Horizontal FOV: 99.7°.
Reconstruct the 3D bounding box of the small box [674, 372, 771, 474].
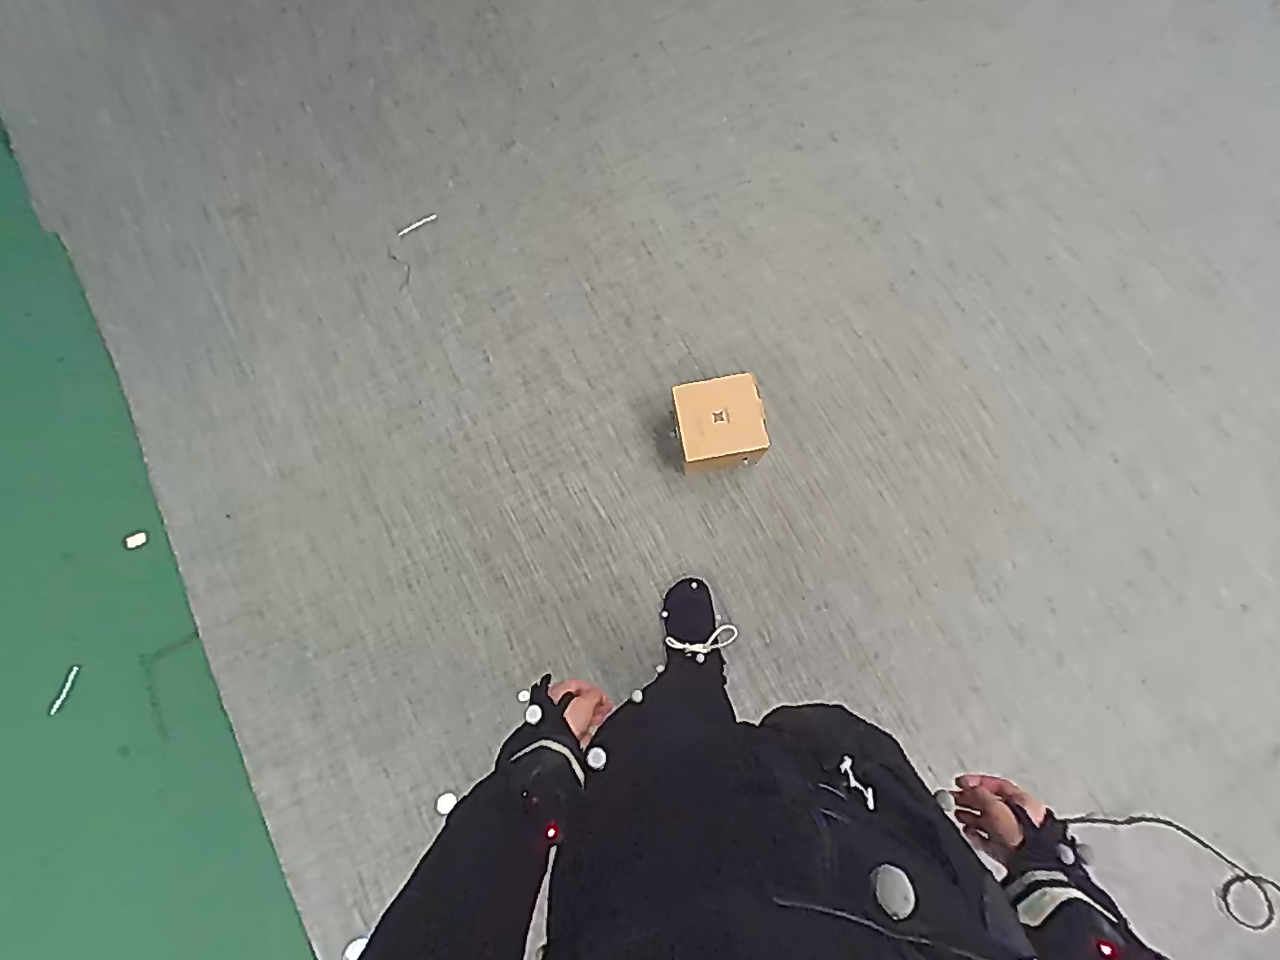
[{"bbox_3d":[0.173,-0.119,1.188,0.179,0.176,0.168,-11,80,3],"label":"small box"}]
